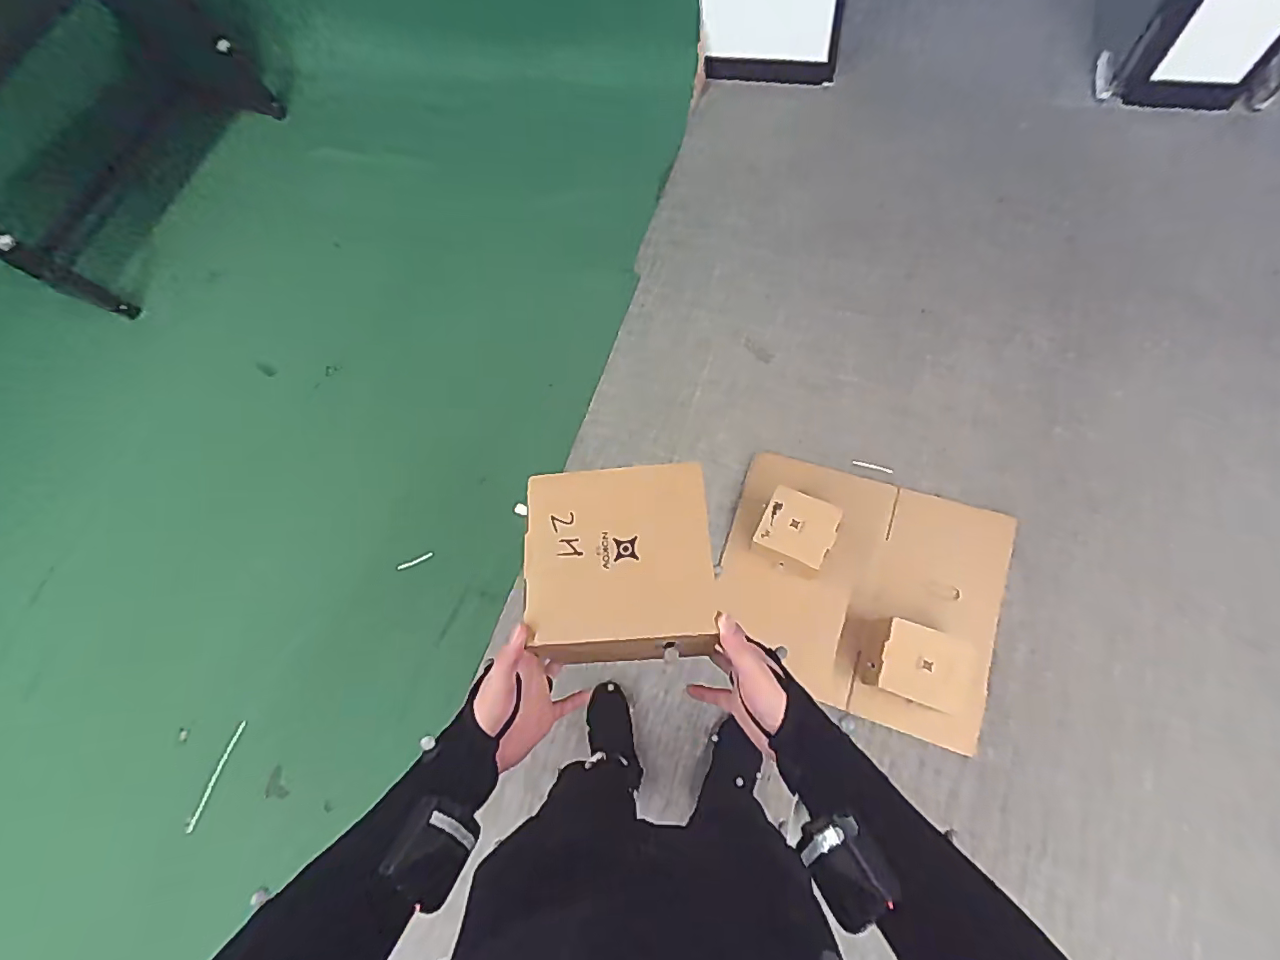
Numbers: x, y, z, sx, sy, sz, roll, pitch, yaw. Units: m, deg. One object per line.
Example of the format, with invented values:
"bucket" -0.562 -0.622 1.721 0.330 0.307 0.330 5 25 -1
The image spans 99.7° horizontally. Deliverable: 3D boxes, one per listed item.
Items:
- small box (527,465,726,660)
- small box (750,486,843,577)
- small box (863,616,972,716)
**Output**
"small box" -0.010 0.096 0.574 0.179 0.176 0.168 -4 65 3
"small box" 0.401 0.142 1.412 0.179 0.176 0.168 25 78 17
"small box" 0.642 0.435 1.272 0.179 0.176 0.168 17 76 16
